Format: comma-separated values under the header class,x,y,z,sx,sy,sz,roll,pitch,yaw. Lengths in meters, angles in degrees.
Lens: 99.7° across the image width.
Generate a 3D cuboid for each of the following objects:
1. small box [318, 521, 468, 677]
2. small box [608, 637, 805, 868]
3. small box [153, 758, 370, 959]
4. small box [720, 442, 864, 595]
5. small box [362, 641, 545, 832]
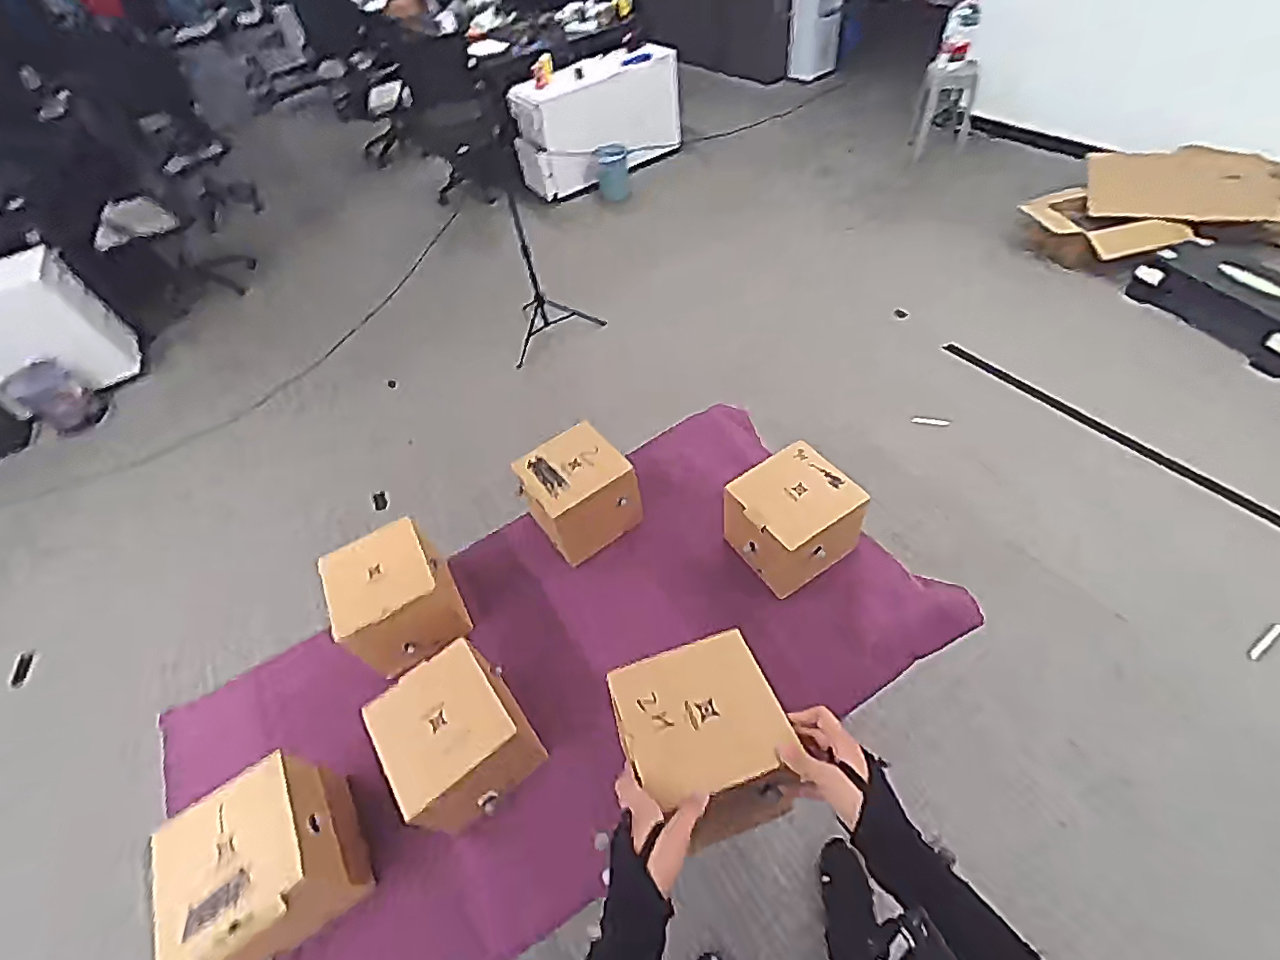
class,x,y,z,sx,sy,sz,roll,pitch,yaw
small box,-0.430,0.212,0.955,0.168,0.176,0.179,-29,53,-15
small box,0.071,0.325,0.650,0.179,0.176,0.168,-15,41,-10
small box,-0.494,0.516,0.723,0.168,0.176,0.179,-32,52,-17
small box,0.262,0.072,0.957,0.179,0.176,0.168,-31,54,-13
small box,-0.267,0.381,0.798,0.168,0.176,0.179,-36,54,-17
